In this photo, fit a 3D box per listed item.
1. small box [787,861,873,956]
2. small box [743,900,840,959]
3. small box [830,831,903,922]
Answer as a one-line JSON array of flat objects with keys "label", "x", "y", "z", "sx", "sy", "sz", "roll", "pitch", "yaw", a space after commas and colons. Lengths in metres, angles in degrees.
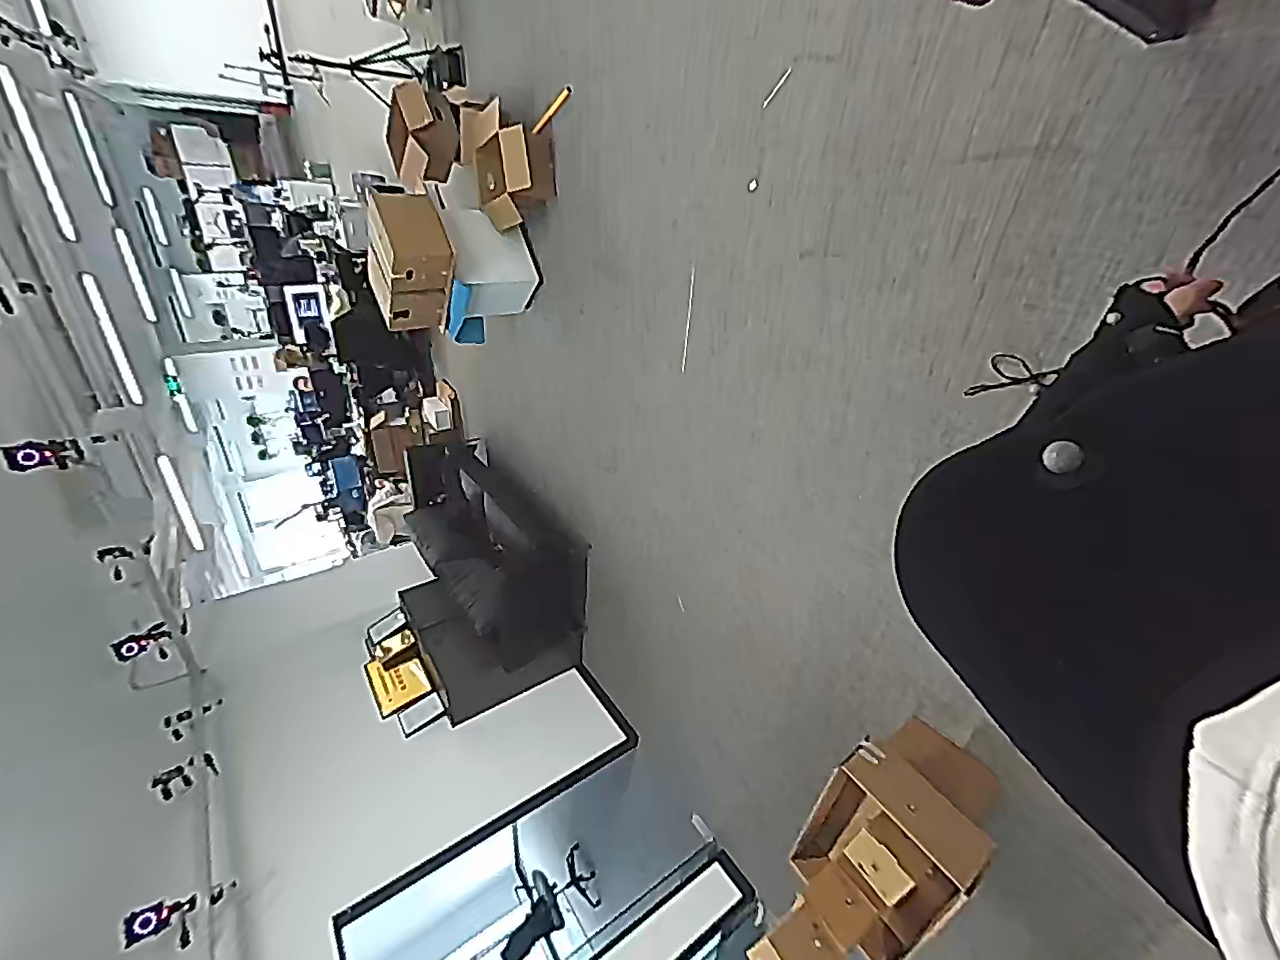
[{"label": "small box", "x": 0.556, "y": 1.289, "z": 1.601, "sx": 0.168, "sy": 0.176, "sz": 0.179, "roll": 39, "pitch": 132, "yaw": 42}, {"label": "small box", "x": 0.425, "y": 1.330, "z": 1.510, "sx": 0.168, "sy": 0.176, "sz": 0.179, "roll": 48, "pitch": 137, "yaw": 35}, {"label": "small box", "x": 0.687, "y": 1.256, "z": 1.691, "sx": 0.168, "sy": 0.176, "sz": 0.179, "roll": 39, "pitch": 132, "yaw": 41}]
